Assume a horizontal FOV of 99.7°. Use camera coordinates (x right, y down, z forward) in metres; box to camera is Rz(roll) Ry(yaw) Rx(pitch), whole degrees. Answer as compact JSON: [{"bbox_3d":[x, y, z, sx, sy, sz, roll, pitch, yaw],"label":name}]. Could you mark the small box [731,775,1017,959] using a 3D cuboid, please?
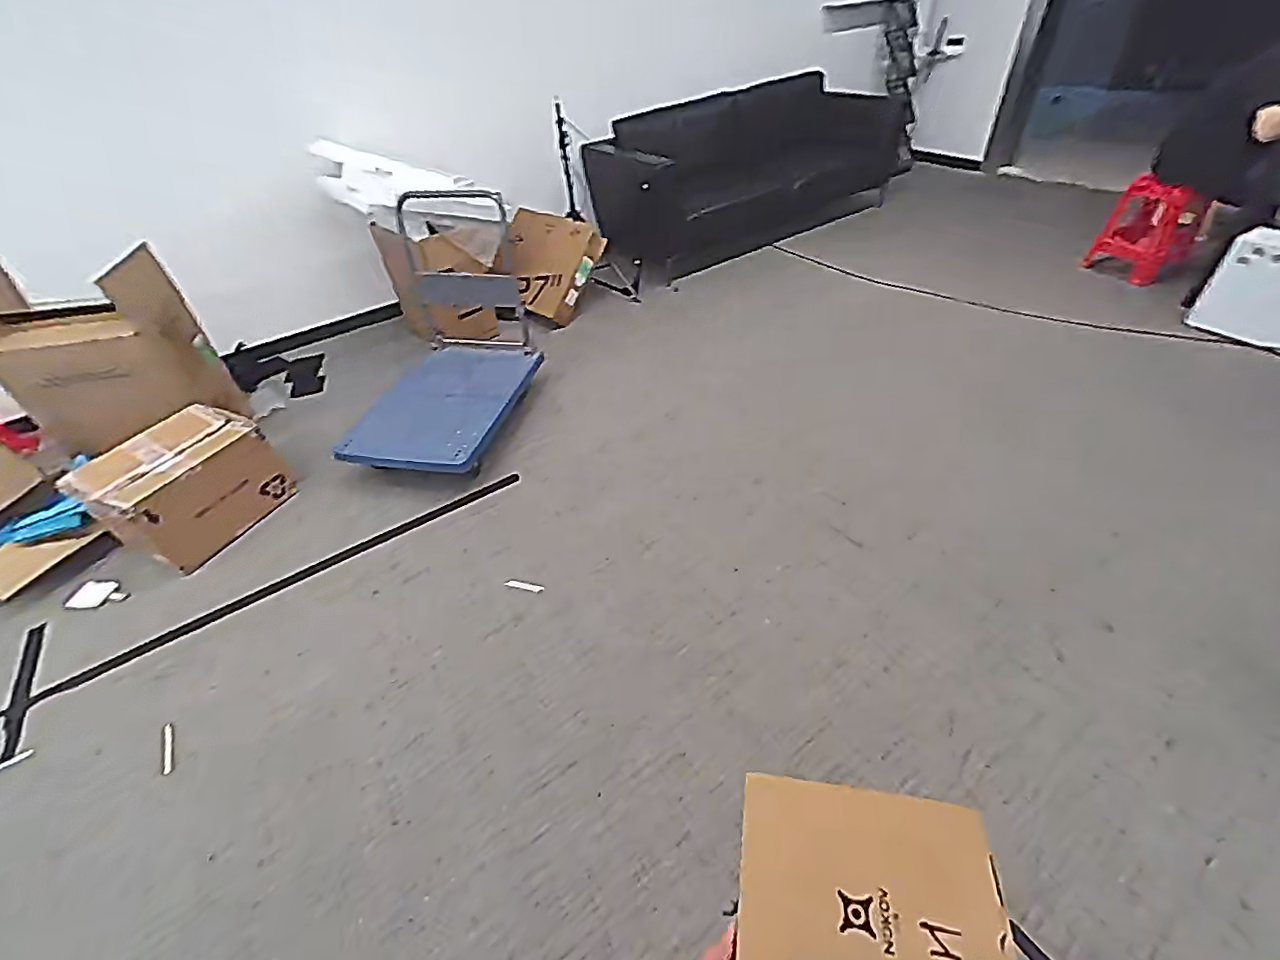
[{"bbox_3d":[0.163,0.355,0.412,0.179,0.176,0.168,2,43,13],"label":"small box"}]
